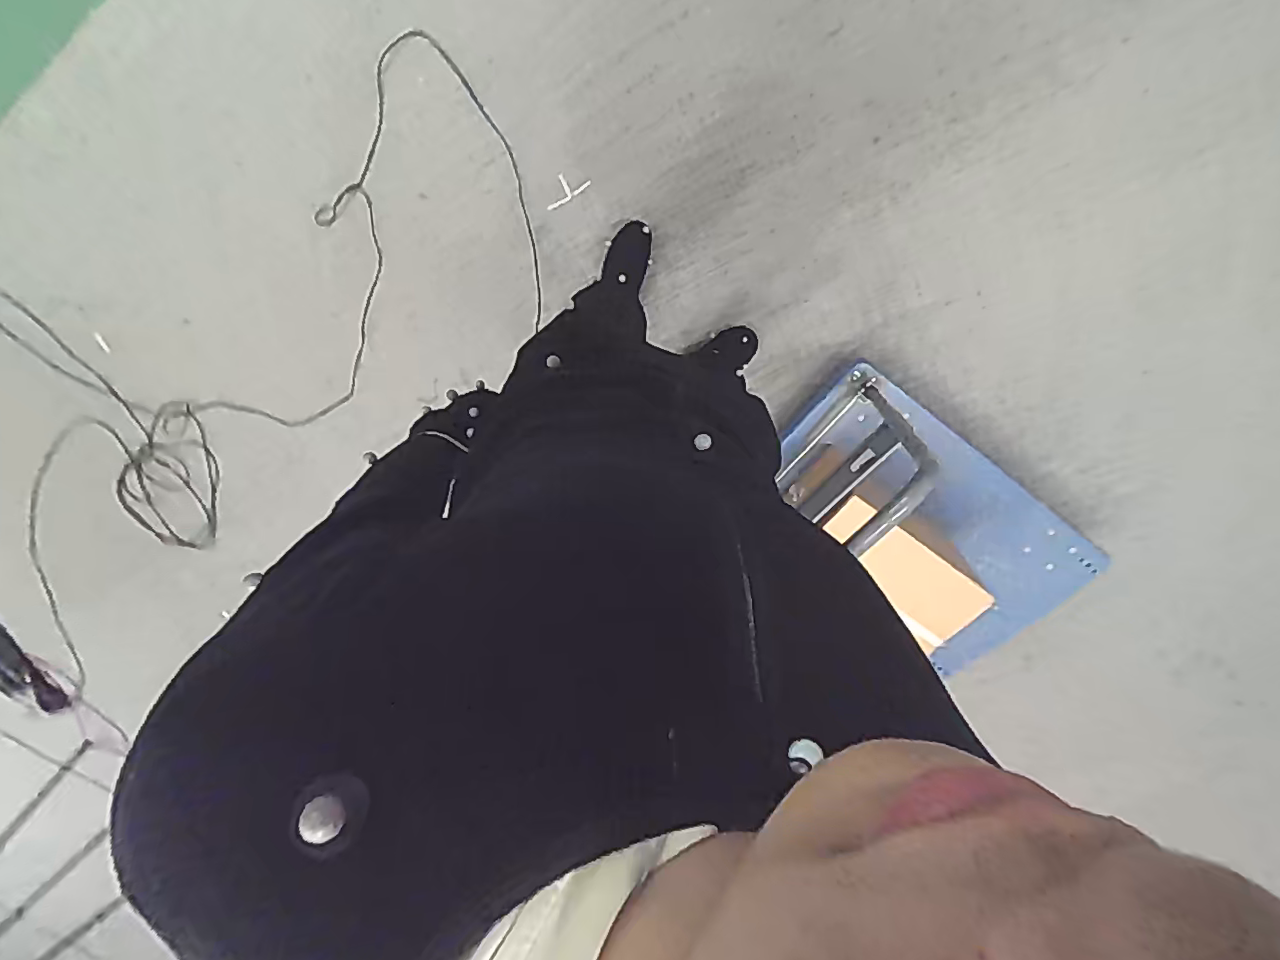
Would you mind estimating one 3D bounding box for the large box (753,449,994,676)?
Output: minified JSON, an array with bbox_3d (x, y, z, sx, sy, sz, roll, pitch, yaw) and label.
[{"bbox_3d":[0.538,0.189,1.335,0.408,0.320,0.320,35,115,-7],"label":"large box"}]
